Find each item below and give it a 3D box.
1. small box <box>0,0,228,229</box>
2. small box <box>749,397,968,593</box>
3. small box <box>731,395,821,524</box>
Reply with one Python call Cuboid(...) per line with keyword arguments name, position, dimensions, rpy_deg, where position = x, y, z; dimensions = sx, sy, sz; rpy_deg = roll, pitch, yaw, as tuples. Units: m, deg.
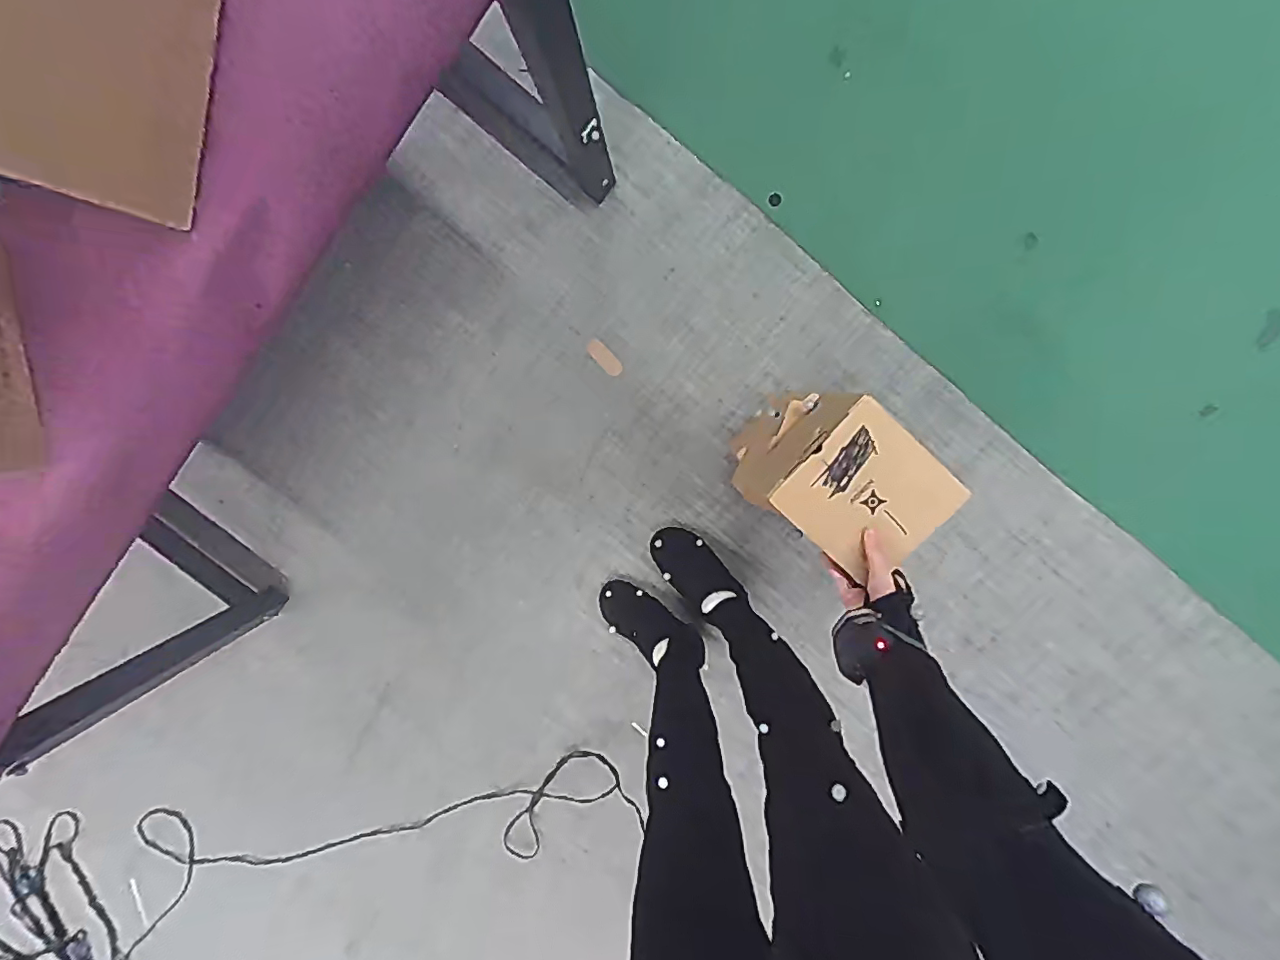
Cuboid(name="small box", position=(-0.366, -0.264, 0.285), dimensions=(0.168, 0.176, 0.179), rpy_deg=(18, 100, 2))
Cuboid(name="small box", position=(0.266, 0.009, 0.707), dimensions=(0.179, 0.176, 0.168), rpy_deg=(42, 99, -6))
Cuboid(name="small box", position=(0.288, -0.046, 1.033), dimensions=(0.179, 0.176, 0.168), rpy_deg=(-39, 97, 9))
